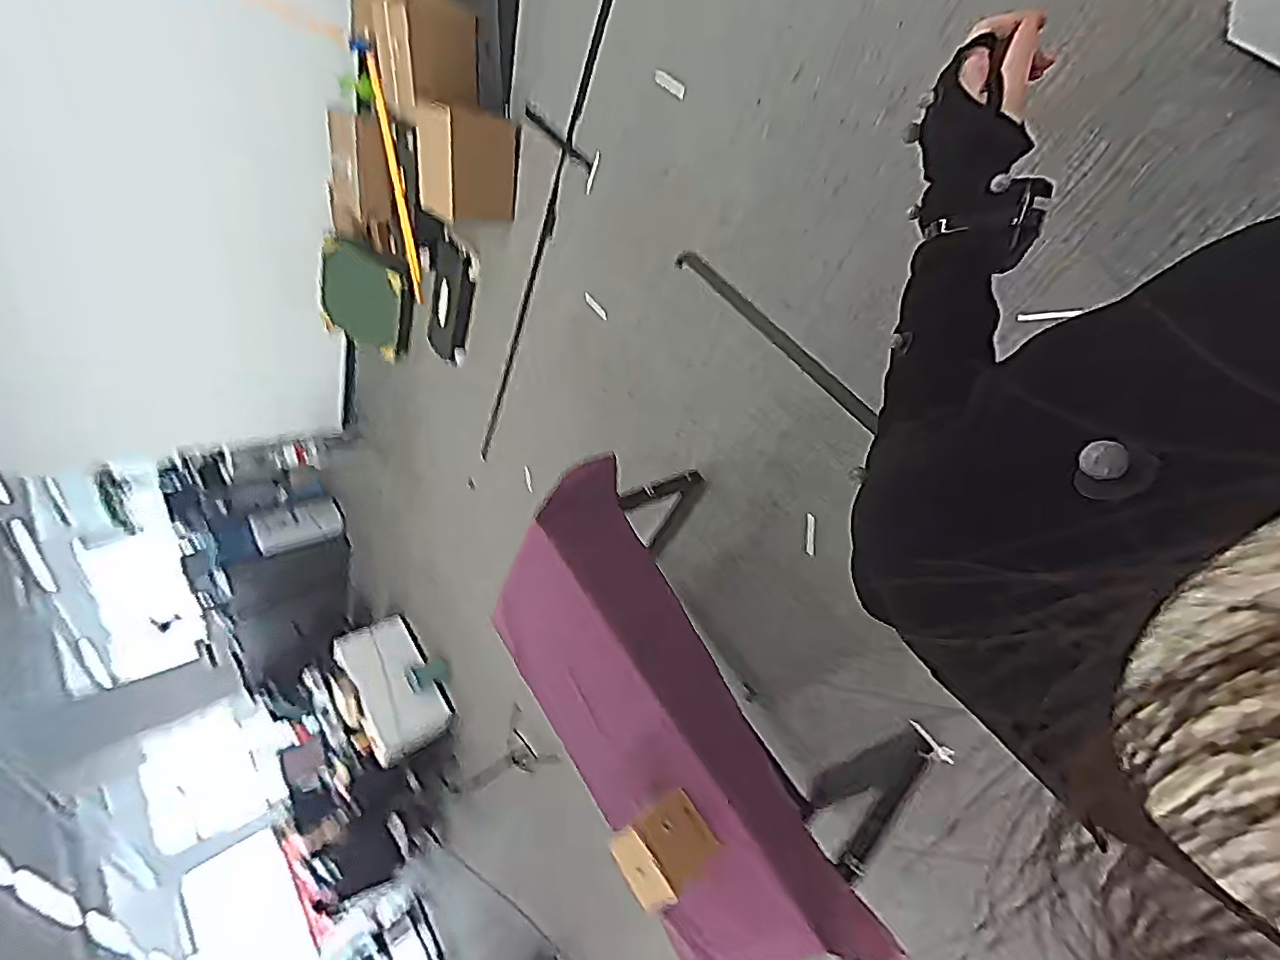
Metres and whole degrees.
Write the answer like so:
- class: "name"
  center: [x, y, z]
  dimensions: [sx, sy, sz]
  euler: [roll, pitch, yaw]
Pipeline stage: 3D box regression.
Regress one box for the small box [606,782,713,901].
- class: "small box"
  center: [0.052, 0.881, 1.329]
  dimensions: [0.168, 0.176, 0.179]
  euler: [51, 135, 23]
